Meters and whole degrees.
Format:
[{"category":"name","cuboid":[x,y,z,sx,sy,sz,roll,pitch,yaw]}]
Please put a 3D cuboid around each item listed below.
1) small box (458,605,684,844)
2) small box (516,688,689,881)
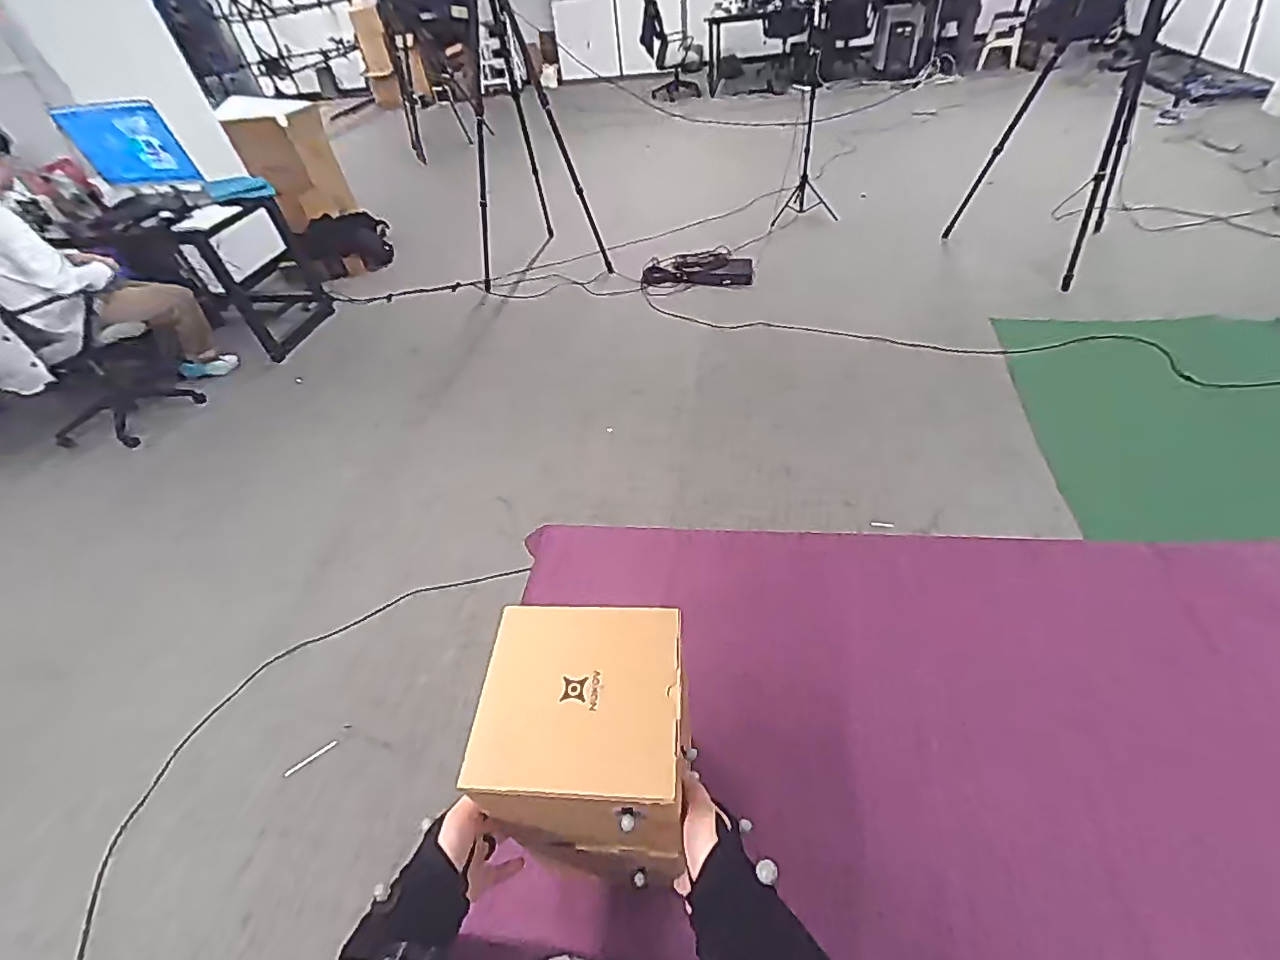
[{"category":"small box","cuboid":[-0.047,0.240,0.529,0.179,0.176,0.168,0,46,5]},{"category":"small box","cuboid":[-0.029,0.354,0.643,0.168,0.176,0.179,1,45,7]}]
